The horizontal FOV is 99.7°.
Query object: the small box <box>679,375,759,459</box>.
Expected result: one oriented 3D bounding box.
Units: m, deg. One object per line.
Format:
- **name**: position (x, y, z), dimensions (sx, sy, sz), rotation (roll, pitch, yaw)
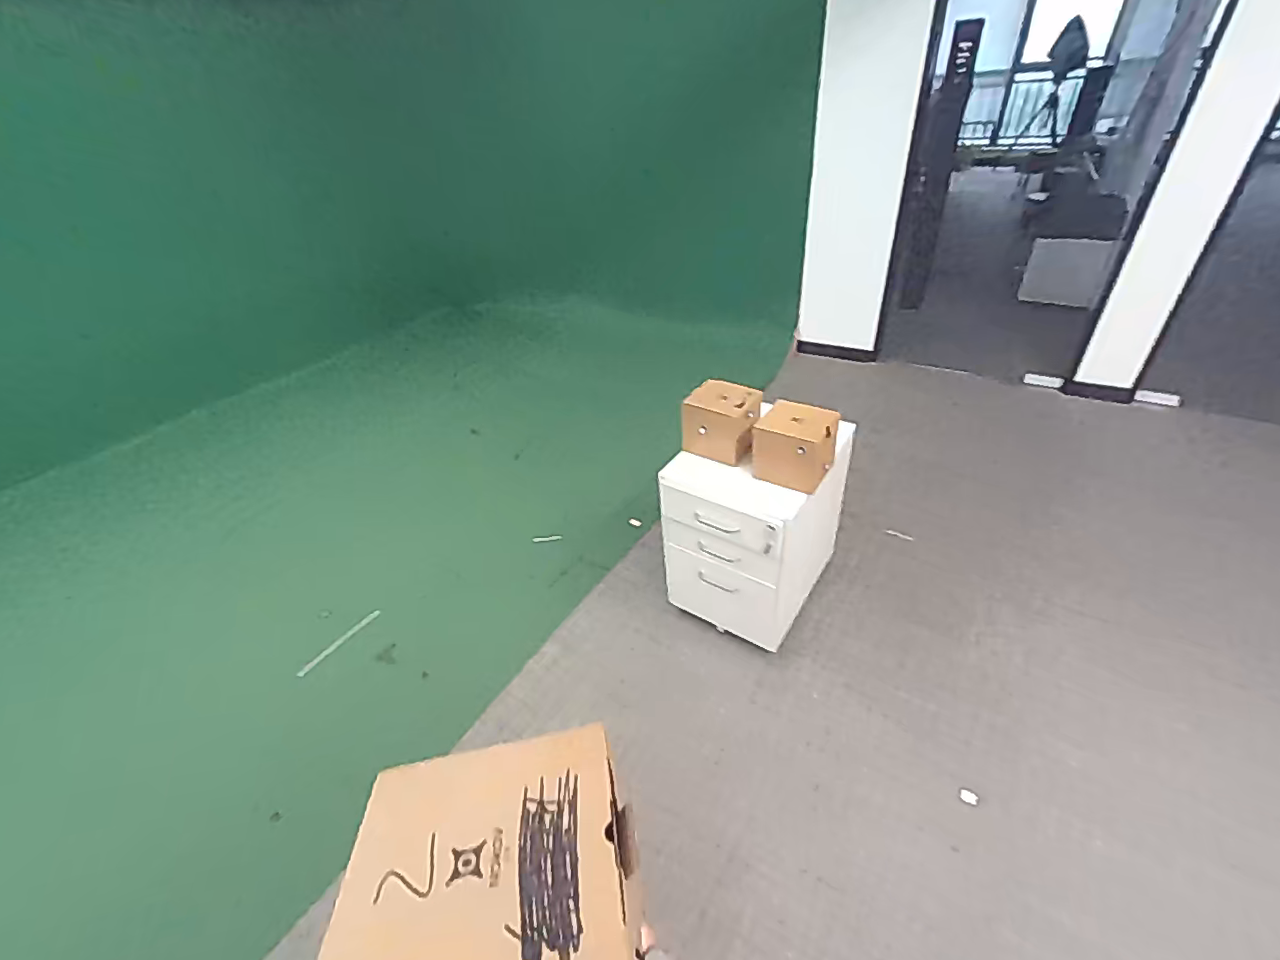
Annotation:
- **small box**: position (0.230, -0.182, 1.570), dimensions (0.179, 0.176, 0.168), rotation (20, 45, 29)
